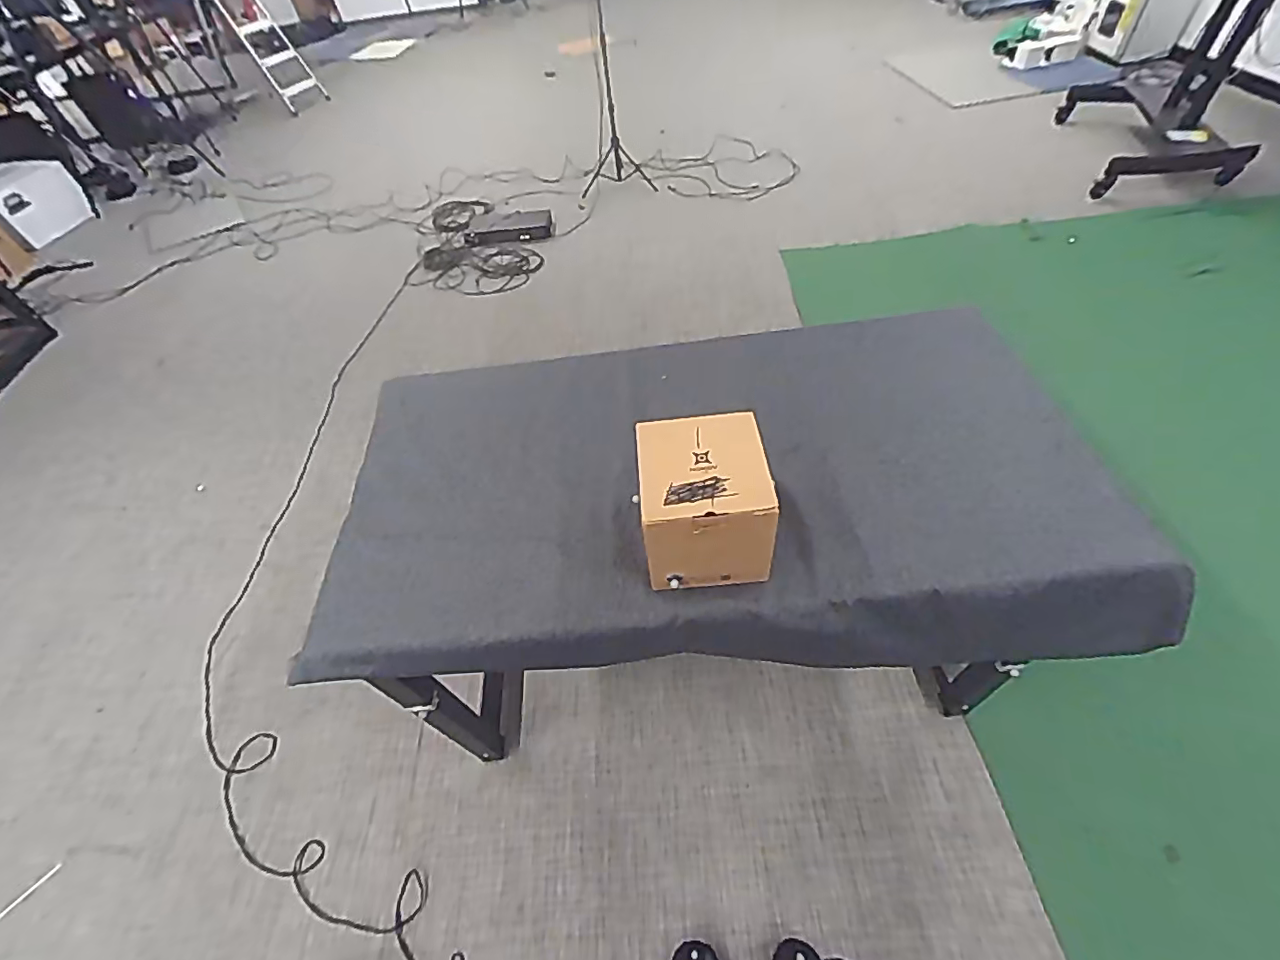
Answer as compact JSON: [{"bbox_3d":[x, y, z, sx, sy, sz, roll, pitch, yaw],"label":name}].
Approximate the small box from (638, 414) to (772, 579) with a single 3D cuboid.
[{"bbox_3d":[0.088,0.030,0.778,0.168,0.176,0.179,-5,49,3],"label":"small box"}]
